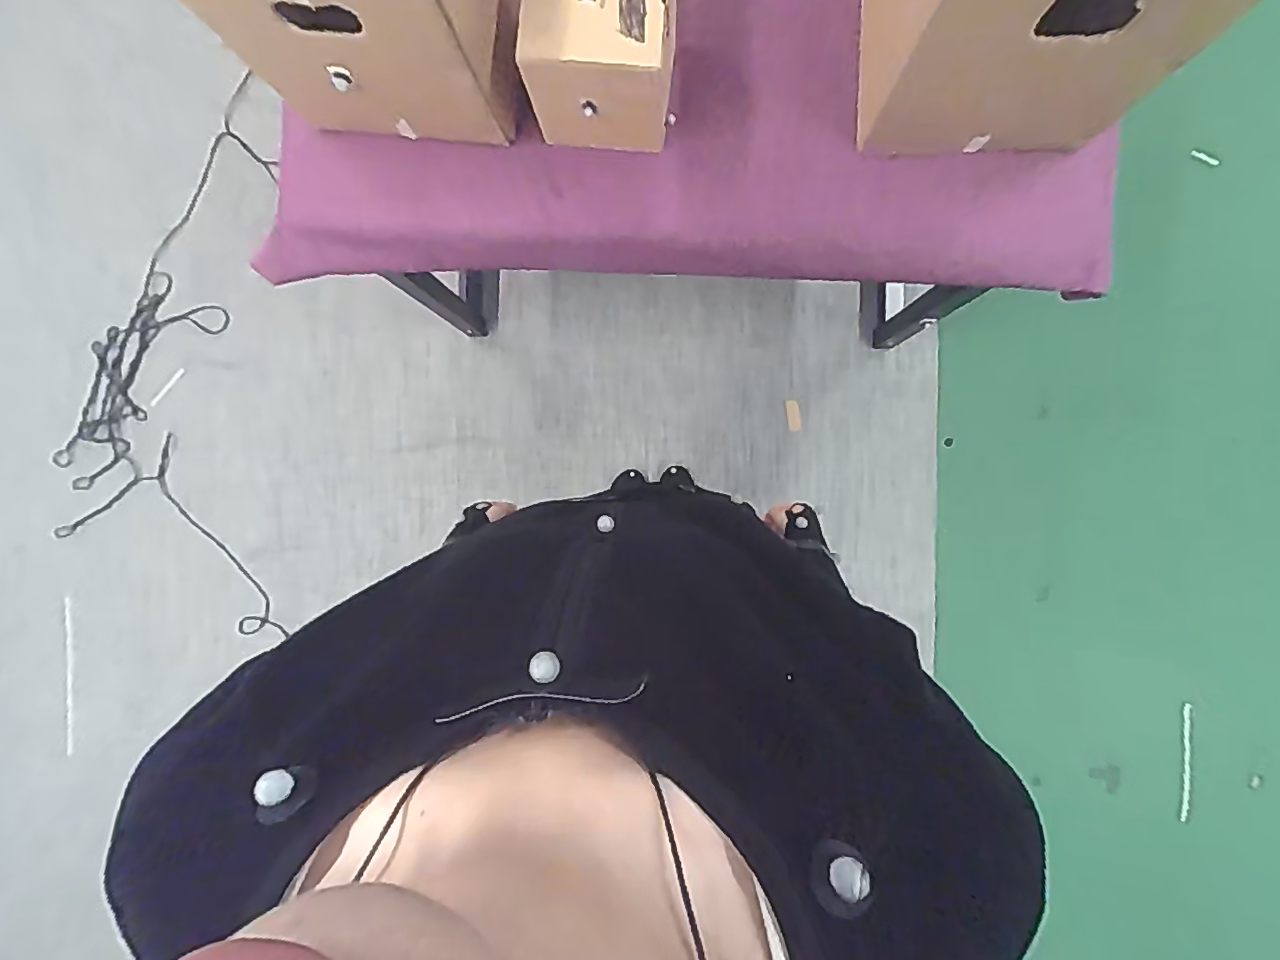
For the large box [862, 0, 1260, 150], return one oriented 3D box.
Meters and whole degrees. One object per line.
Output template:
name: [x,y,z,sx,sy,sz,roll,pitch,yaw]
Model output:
large box: [0.458,-0.665,0.612,0.320,0.320,0.408,1,91,5]
